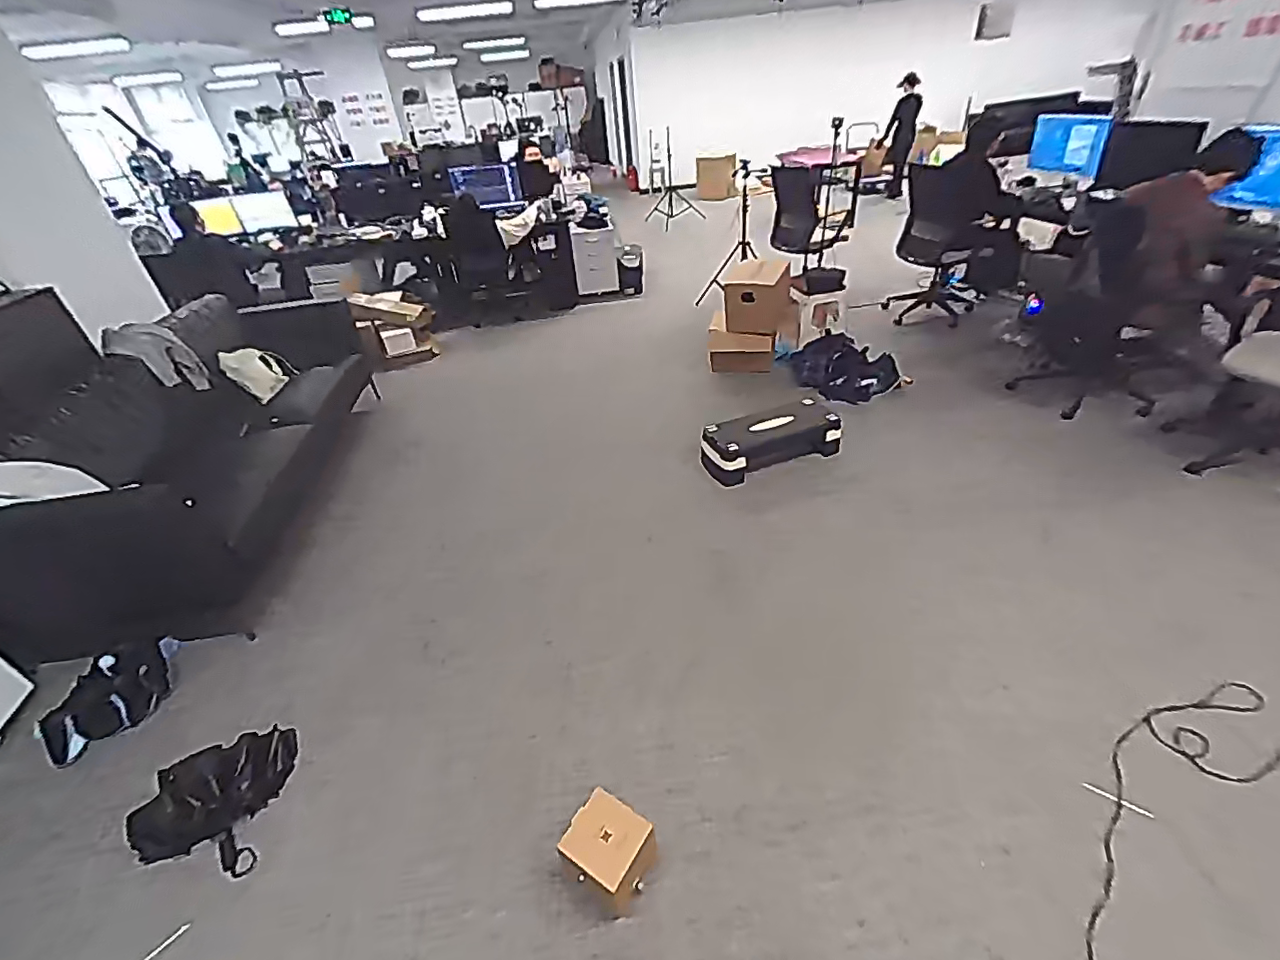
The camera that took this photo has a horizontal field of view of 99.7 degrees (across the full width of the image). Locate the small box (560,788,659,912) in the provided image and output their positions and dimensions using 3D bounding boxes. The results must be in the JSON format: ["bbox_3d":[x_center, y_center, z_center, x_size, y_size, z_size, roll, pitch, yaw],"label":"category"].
[{"bbox_3d":[-0.069,0.918,1.340,0.179,0.176,0.168,18,43,29],"label":"small box"}]
